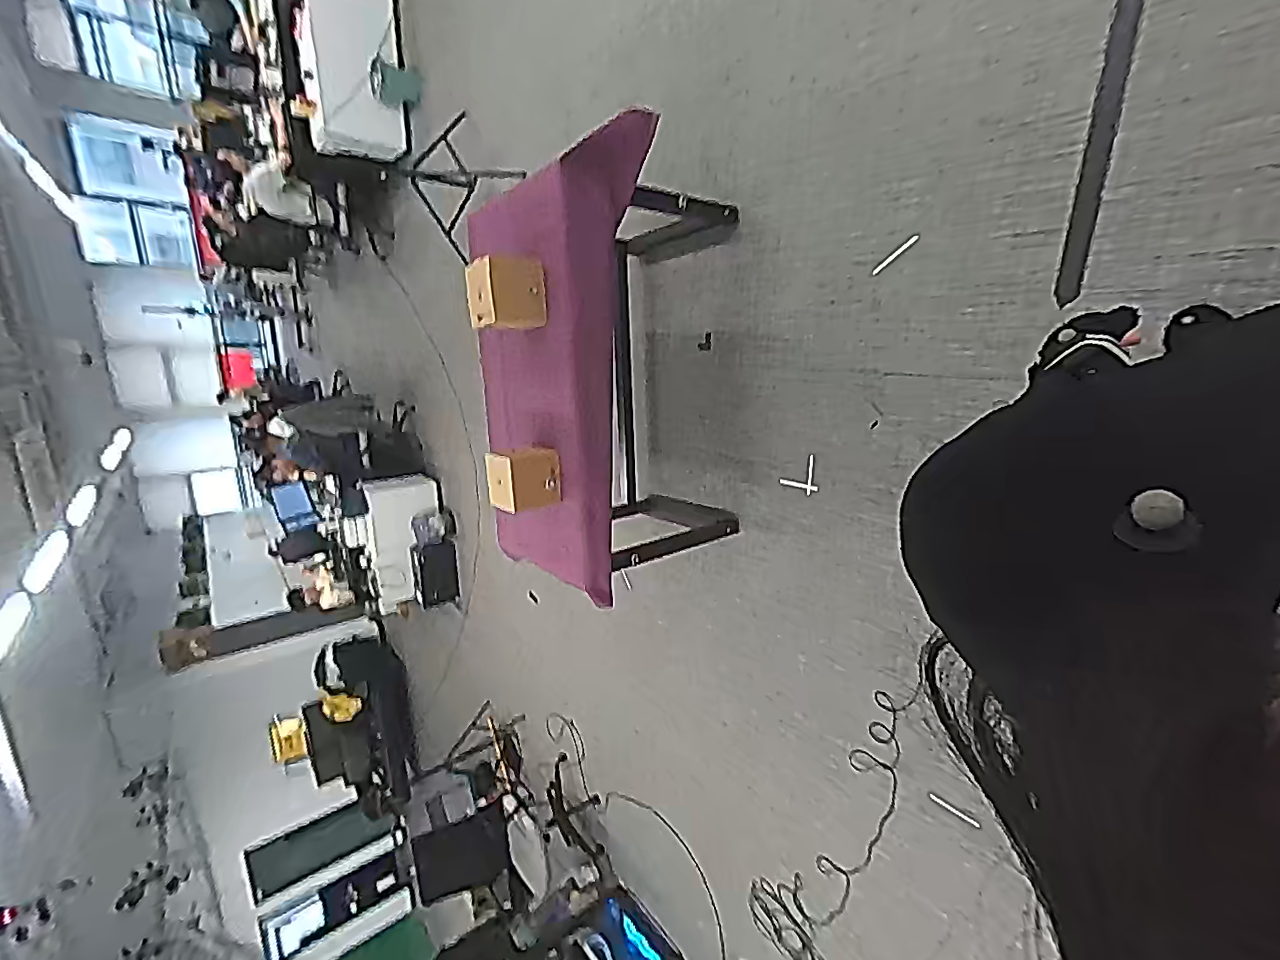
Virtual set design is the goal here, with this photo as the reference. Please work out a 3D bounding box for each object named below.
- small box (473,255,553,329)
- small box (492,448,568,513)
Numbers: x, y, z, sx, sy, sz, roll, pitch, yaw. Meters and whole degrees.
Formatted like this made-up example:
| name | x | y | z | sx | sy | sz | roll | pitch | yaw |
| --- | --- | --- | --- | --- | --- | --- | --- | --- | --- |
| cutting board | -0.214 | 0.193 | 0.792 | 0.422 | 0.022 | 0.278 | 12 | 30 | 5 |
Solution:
| name | x | y | z | sx | sy | sz | roll | pitch | yaw |
| --- | --- | --- | --- | --- | --- | --- | --- | --- | --- |
| small box | -0.370 | -0.540 | 1.578 | 0.168 | 0.176 | 0.179 | 9 | 106 | 51 |
| small box | -0.341 | -0.006 | 1.676 | 0.179 | 0.176 | 0.168 | 10 | 108 | 50 |
